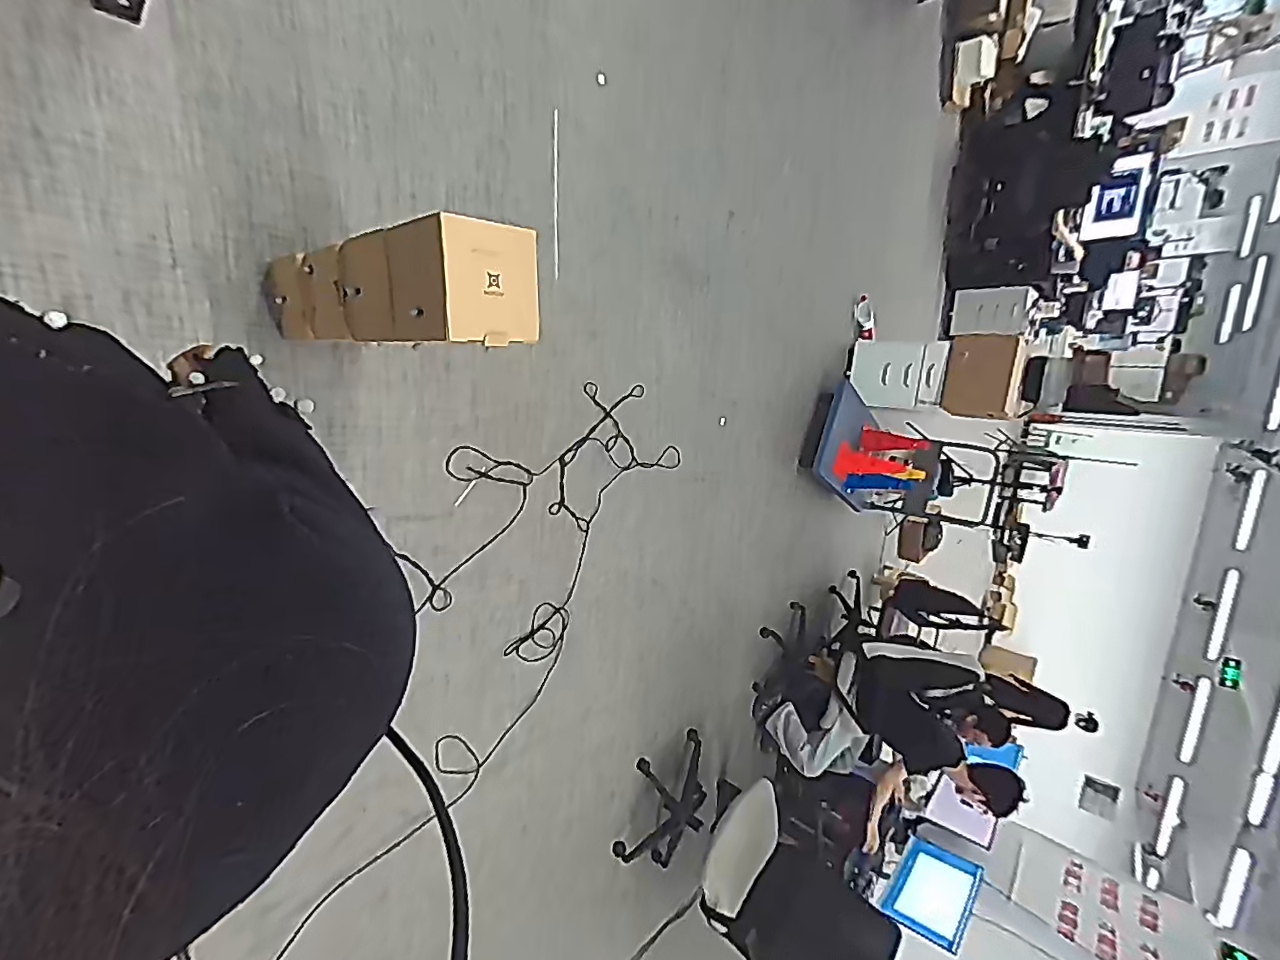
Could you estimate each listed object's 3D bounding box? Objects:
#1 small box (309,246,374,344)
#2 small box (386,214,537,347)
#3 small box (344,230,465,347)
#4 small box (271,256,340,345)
[{"bbox_3d":[-0.531,-0.356,1.071,0.179,0.176,0.168,-16,111,-47],"label":"small box"},{"bbox_3d":[-0.283,-0.304,0.864,0.168,0.176,0.179,-15,109,-47],"label":"small box"},{"bbox_3d":[-0.407,-0.332,0.967,0.168,0.176,0.179,-15,111,-47],"label":"small box"},{"bbox_3d":[-0.661,-0.380,1.168,0.179,0.176,0.168,-16,110,-45],"label":"small box"}]
